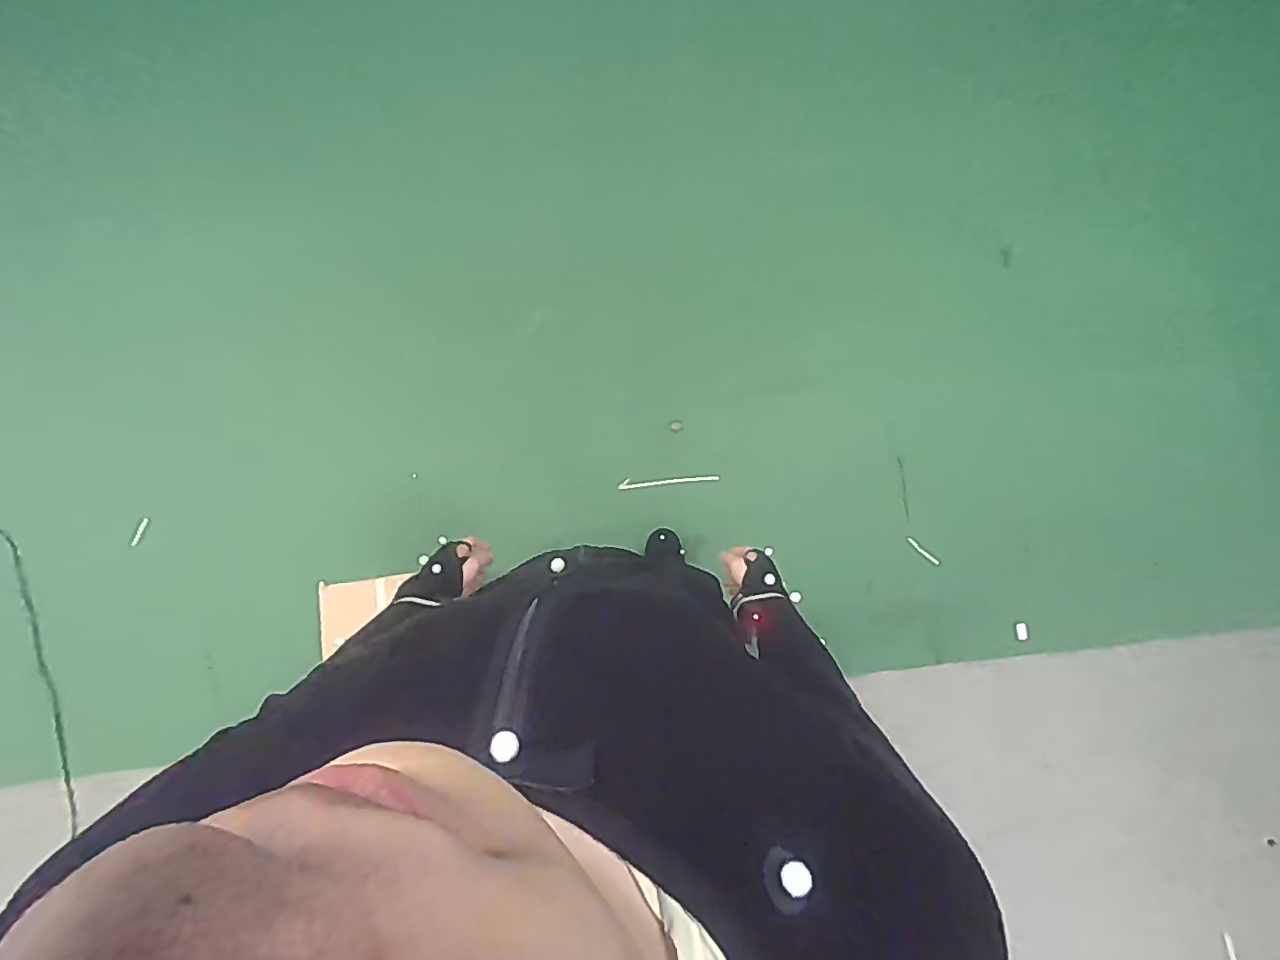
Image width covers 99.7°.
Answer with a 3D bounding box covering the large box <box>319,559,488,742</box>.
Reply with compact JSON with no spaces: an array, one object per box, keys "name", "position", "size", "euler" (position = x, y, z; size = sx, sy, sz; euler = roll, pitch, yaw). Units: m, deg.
[{"name":"large box","position":[-0.625,0.439,1.477],"size":[0.320,0.320,0.408],"euler":[-7,82,-2]}]
